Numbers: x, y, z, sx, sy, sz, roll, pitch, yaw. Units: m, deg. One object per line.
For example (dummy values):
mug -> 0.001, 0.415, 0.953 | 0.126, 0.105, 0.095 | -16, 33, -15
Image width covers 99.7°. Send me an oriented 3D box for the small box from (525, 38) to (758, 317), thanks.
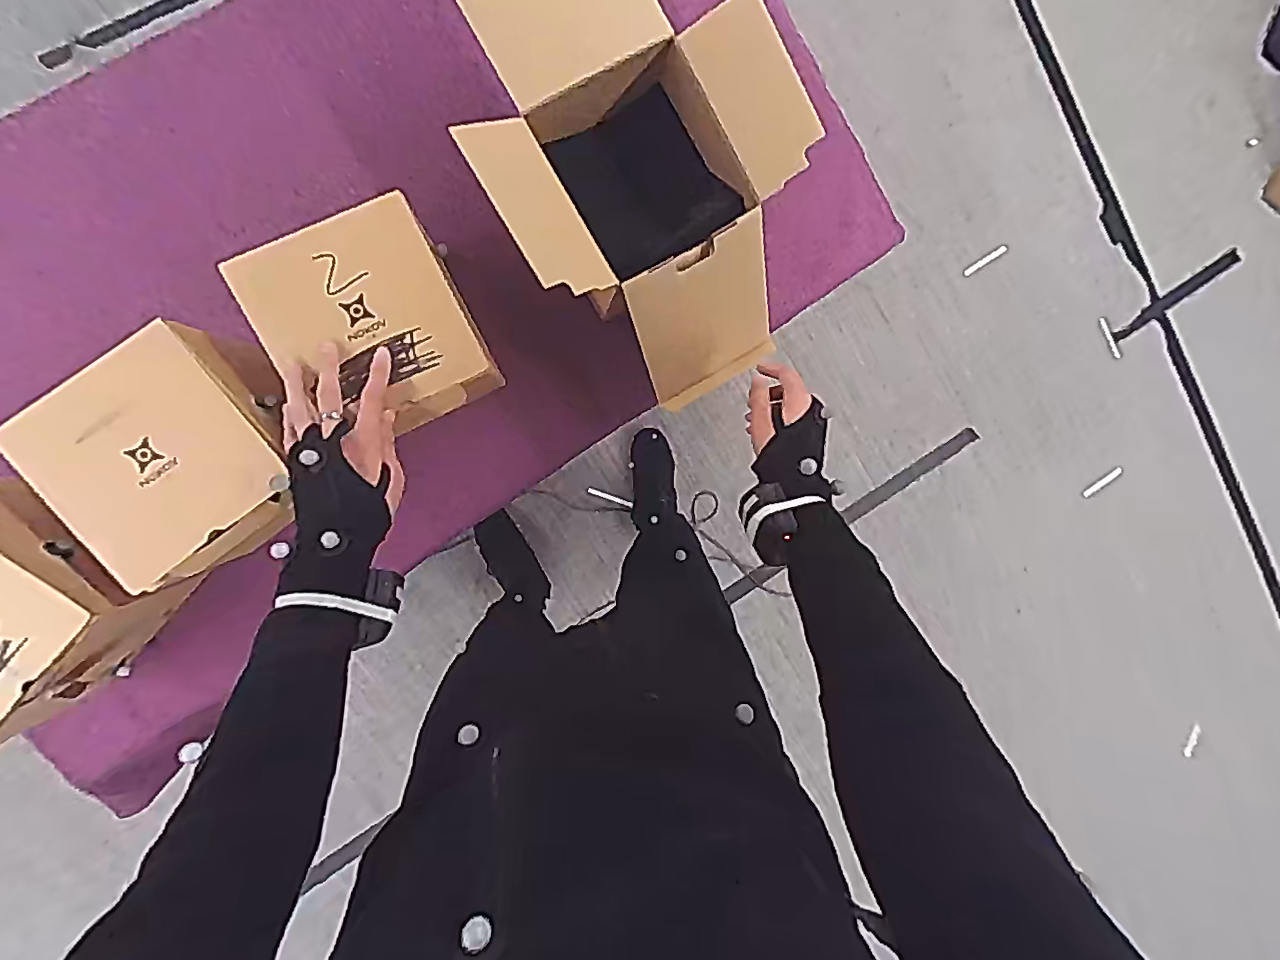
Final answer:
small box -> -0.008, -0.303, 0.584 | 0.168, 0.176, 0.179 | -31, 99, -5
